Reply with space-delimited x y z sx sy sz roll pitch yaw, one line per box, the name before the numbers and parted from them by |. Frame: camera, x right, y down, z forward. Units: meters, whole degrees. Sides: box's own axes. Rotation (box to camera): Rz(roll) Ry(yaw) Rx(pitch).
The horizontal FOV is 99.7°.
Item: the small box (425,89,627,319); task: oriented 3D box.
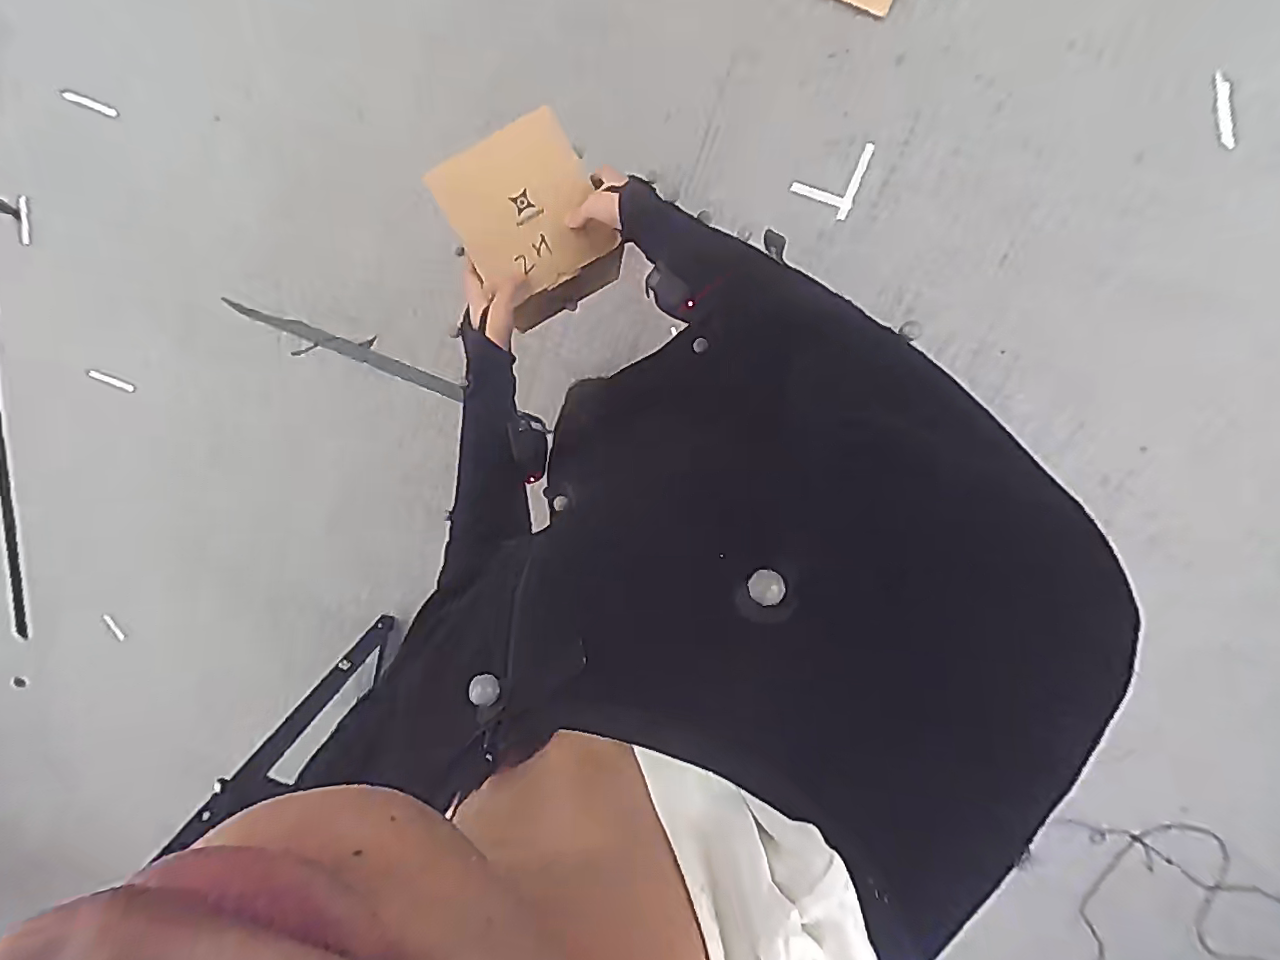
small box | -0.133 -0.324 0.676 0.168 0.176 0.179 -28 100 -1
